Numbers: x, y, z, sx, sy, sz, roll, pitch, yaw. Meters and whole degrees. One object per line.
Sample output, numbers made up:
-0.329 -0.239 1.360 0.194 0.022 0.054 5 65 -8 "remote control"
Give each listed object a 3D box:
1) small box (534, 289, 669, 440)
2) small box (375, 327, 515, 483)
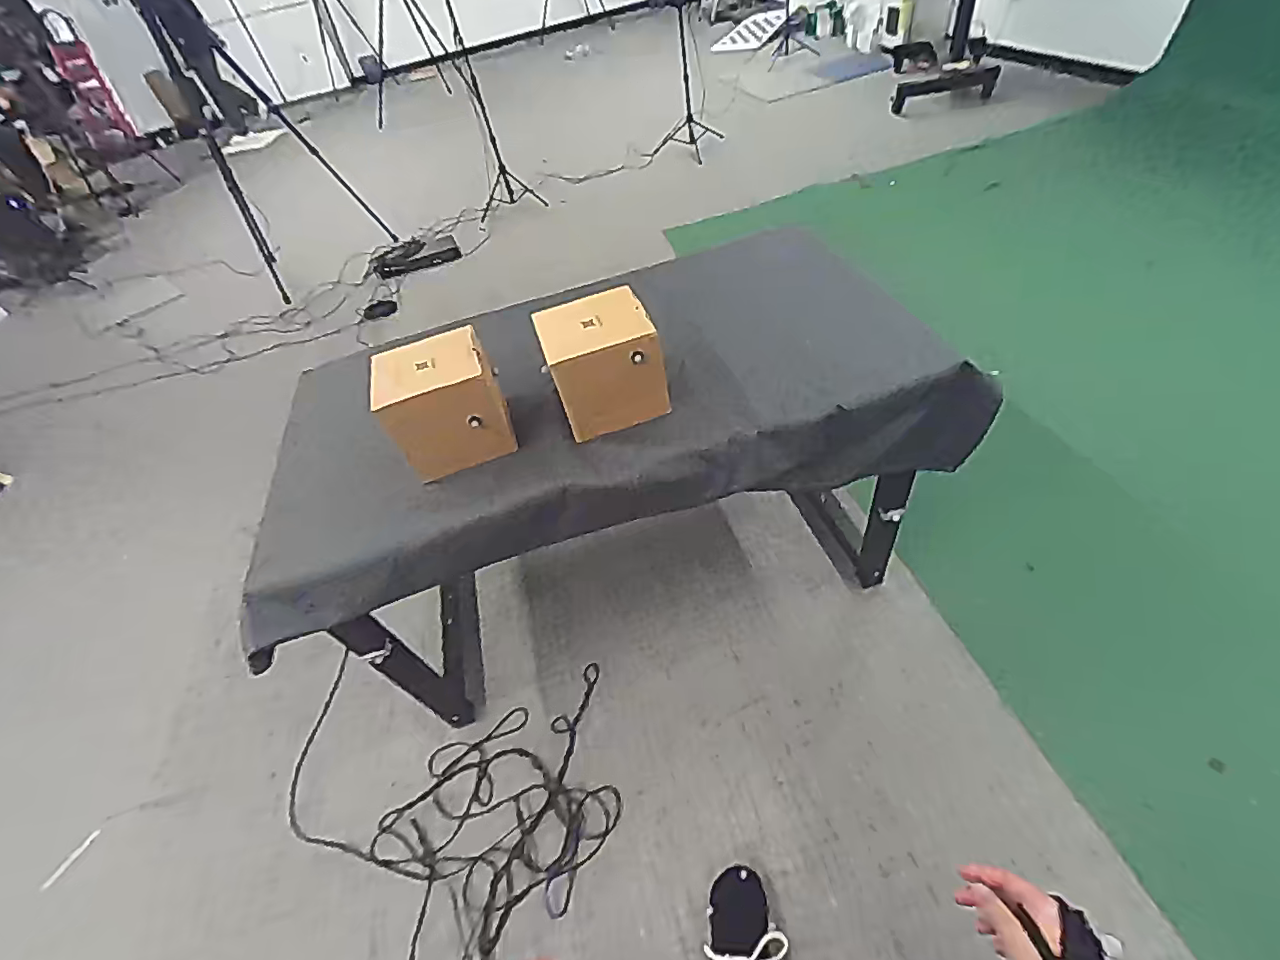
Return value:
-0.063 -0.193 0.927 0.179 0.176 0.168 -19 47 -5 "small box"
-0.325 -0.125 0.923 0.179 0.176 0.168 -21 46 -5 "small box"
